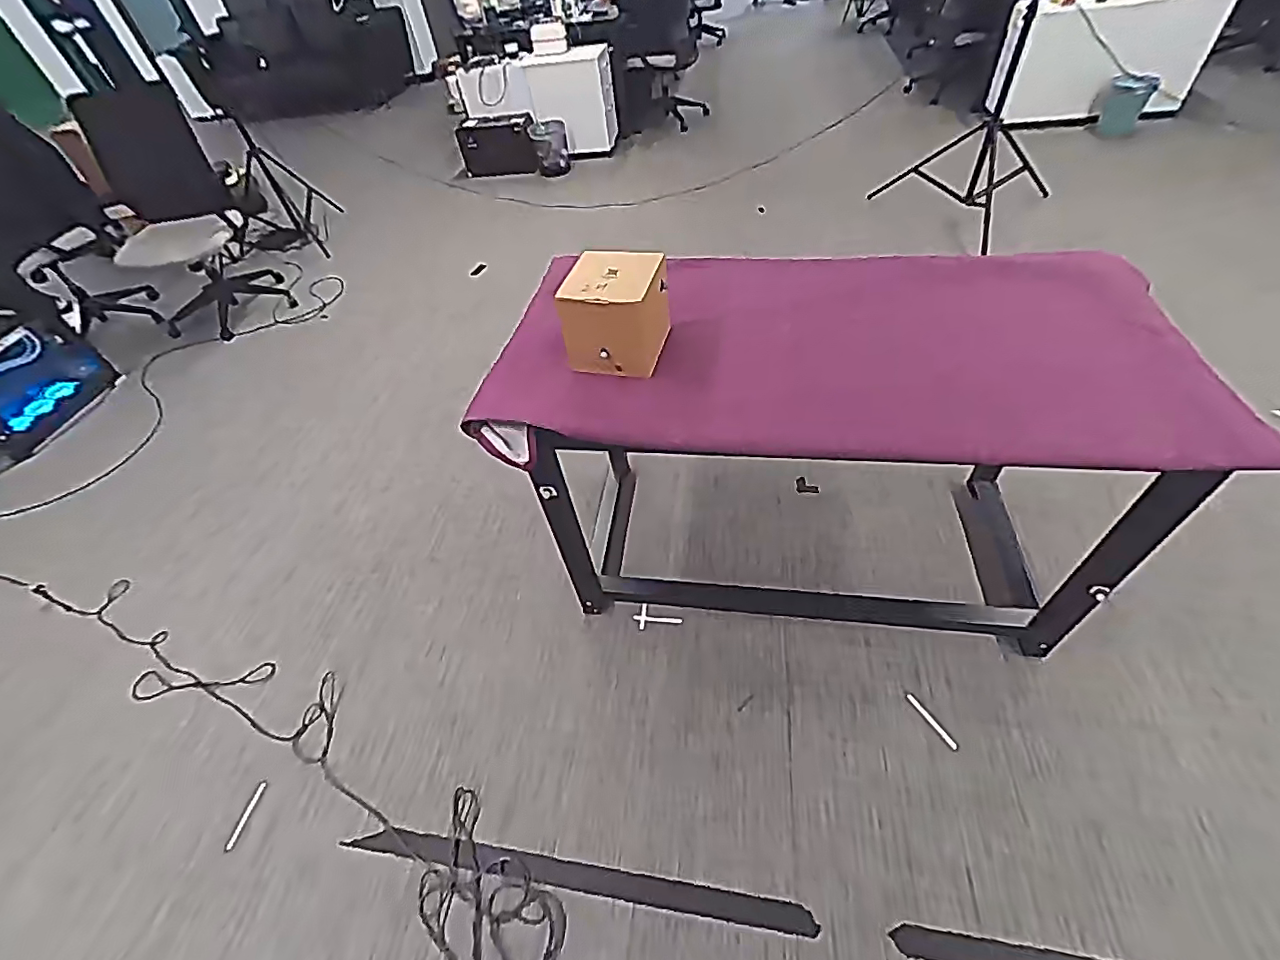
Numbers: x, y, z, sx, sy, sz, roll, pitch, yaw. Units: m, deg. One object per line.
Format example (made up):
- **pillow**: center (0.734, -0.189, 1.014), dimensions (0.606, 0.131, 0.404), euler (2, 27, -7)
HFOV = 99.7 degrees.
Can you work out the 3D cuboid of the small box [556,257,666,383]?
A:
- **small box**: center (-0.047, -0.318, 1.070), dimensions (0.168, 0.176, 0.179), euler (8, 51, 15)
